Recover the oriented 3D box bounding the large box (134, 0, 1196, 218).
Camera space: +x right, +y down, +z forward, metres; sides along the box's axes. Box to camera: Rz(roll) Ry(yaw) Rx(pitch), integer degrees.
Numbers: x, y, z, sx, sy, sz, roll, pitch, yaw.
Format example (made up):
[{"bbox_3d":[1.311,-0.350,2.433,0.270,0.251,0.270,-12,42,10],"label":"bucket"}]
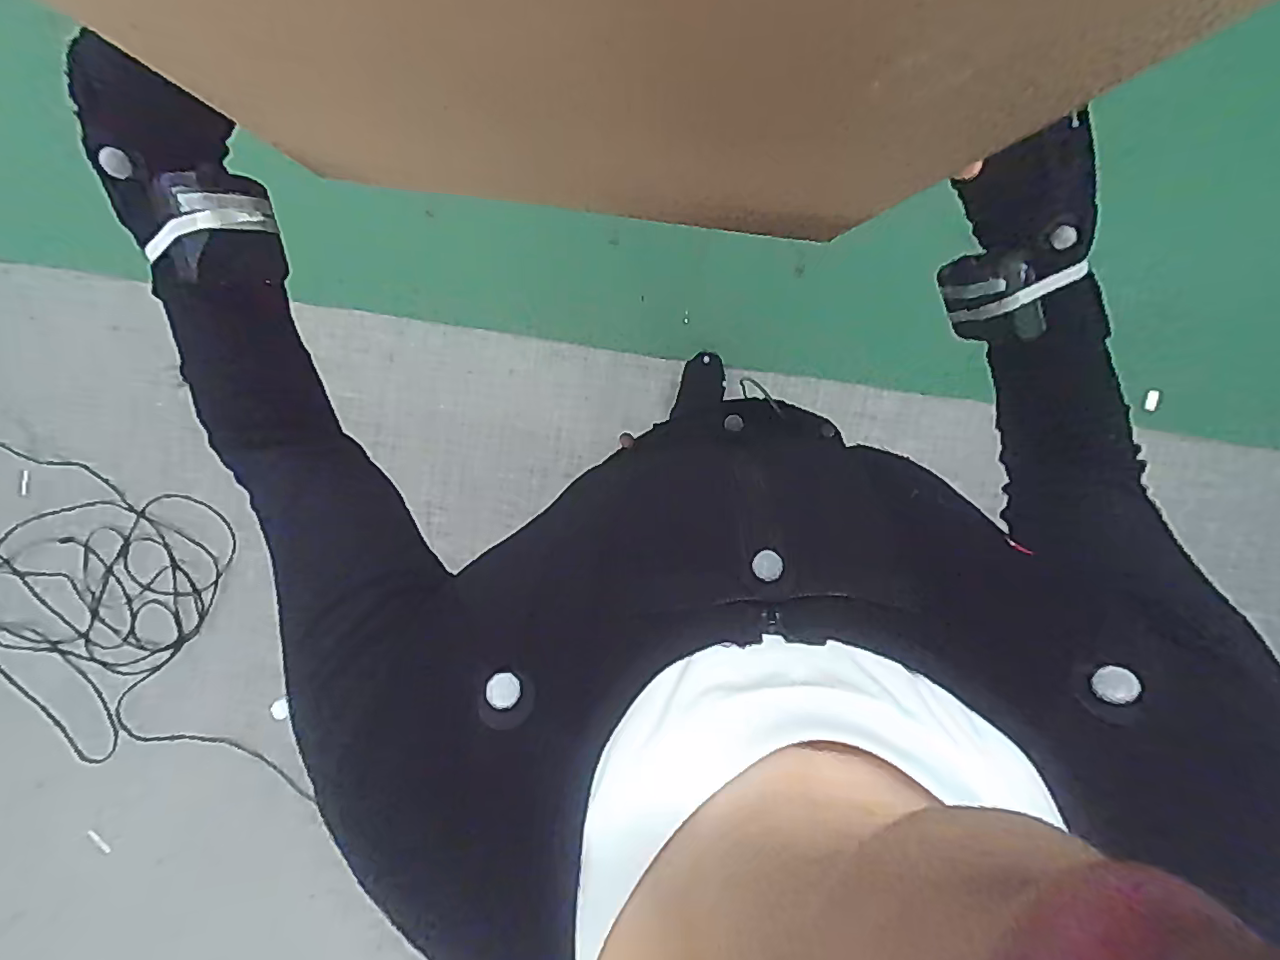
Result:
[{"bbox_3d":[-0.011,-0.340,0.245,0.408,0.320,0.320,5,103,-6],"label":"large box"}]
